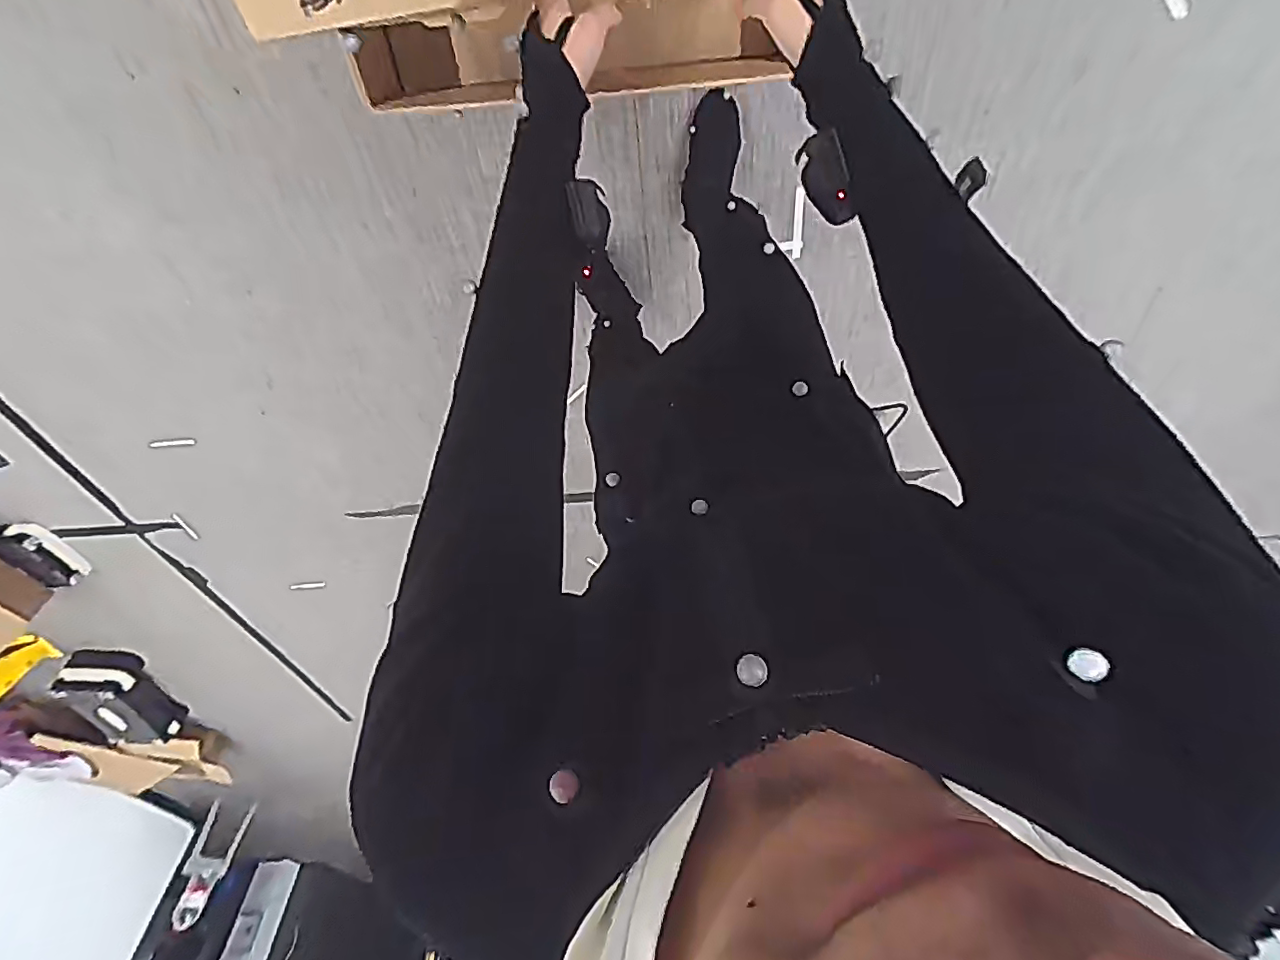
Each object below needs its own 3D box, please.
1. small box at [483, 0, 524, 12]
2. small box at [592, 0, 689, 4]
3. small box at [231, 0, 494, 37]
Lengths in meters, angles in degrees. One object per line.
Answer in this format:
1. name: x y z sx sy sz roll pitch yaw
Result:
1. small box: -0.218 -0.565 0.525 0.168 0.176 0.179 -5 133 4
2. small box: 0.017 -0.686 0.642 0.168 0.176 0.179 -1 133 2
3. small box: -0.222 -0.455 0.404 0.168 0.176 0.179 -6 131 4
